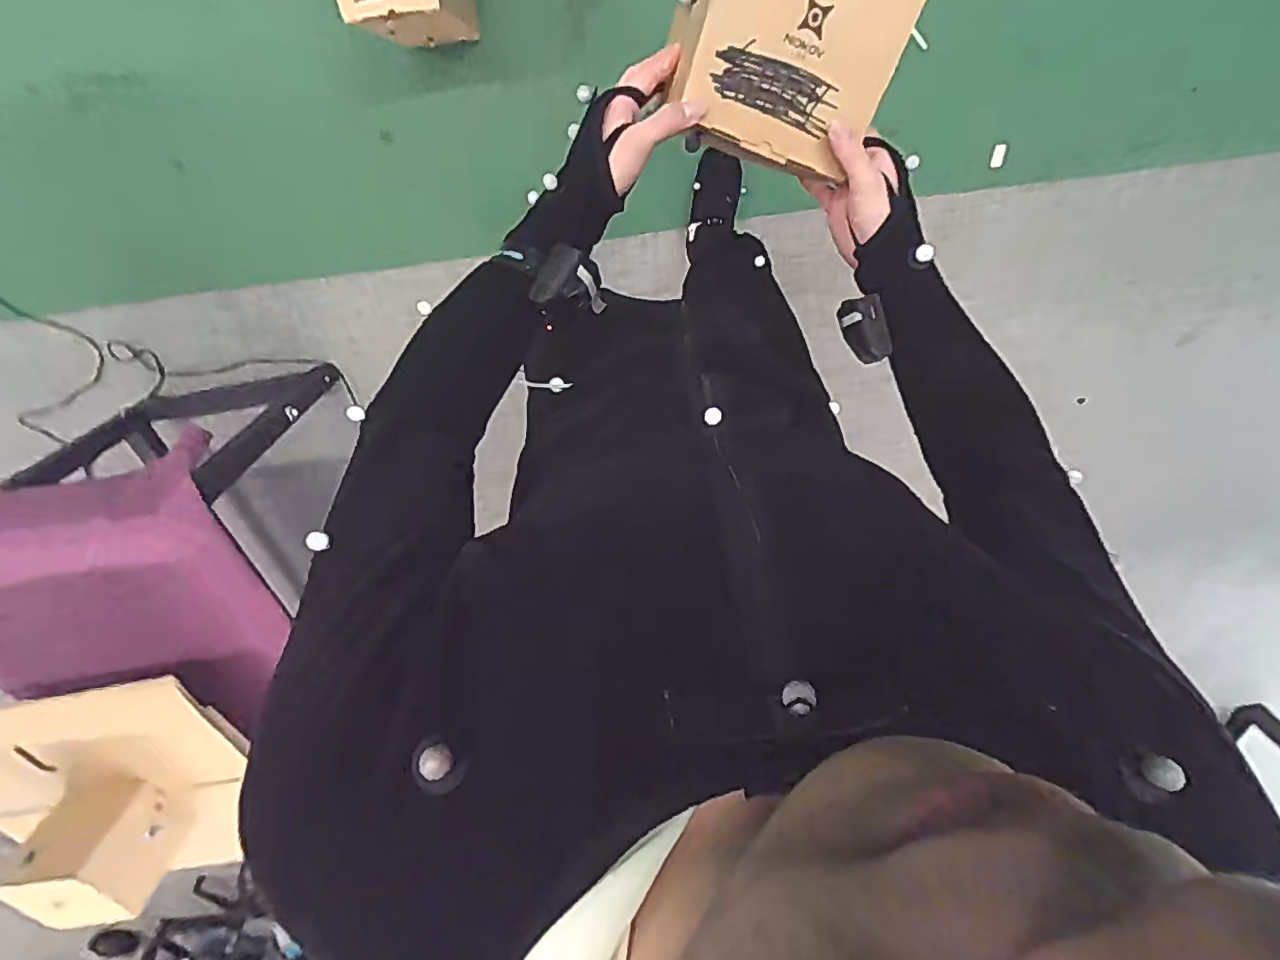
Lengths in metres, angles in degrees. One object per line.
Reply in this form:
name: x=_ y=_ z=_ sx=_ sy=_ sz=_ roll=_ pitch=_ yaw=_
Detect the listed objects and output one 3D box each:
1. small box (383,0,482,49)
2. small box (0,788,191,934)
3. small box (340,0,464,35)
small box: x=-0.418 y=-0.959 z=1.042 sx=0.168 sy=0.176 sz=0.179 roll=-6 pitch=124 yaw=1
small box: x=-1.024 y=0.716 z=1.025 sx=0.179 sy=0.176 sz=0.168 roll=-9 pitch=122 yaw=2
small box: x=-0.411 y=-0.869 z=0.905 sx=0.168 sy=0.176 sz=0.179 roll=-7 pitch=123 yaw=1
